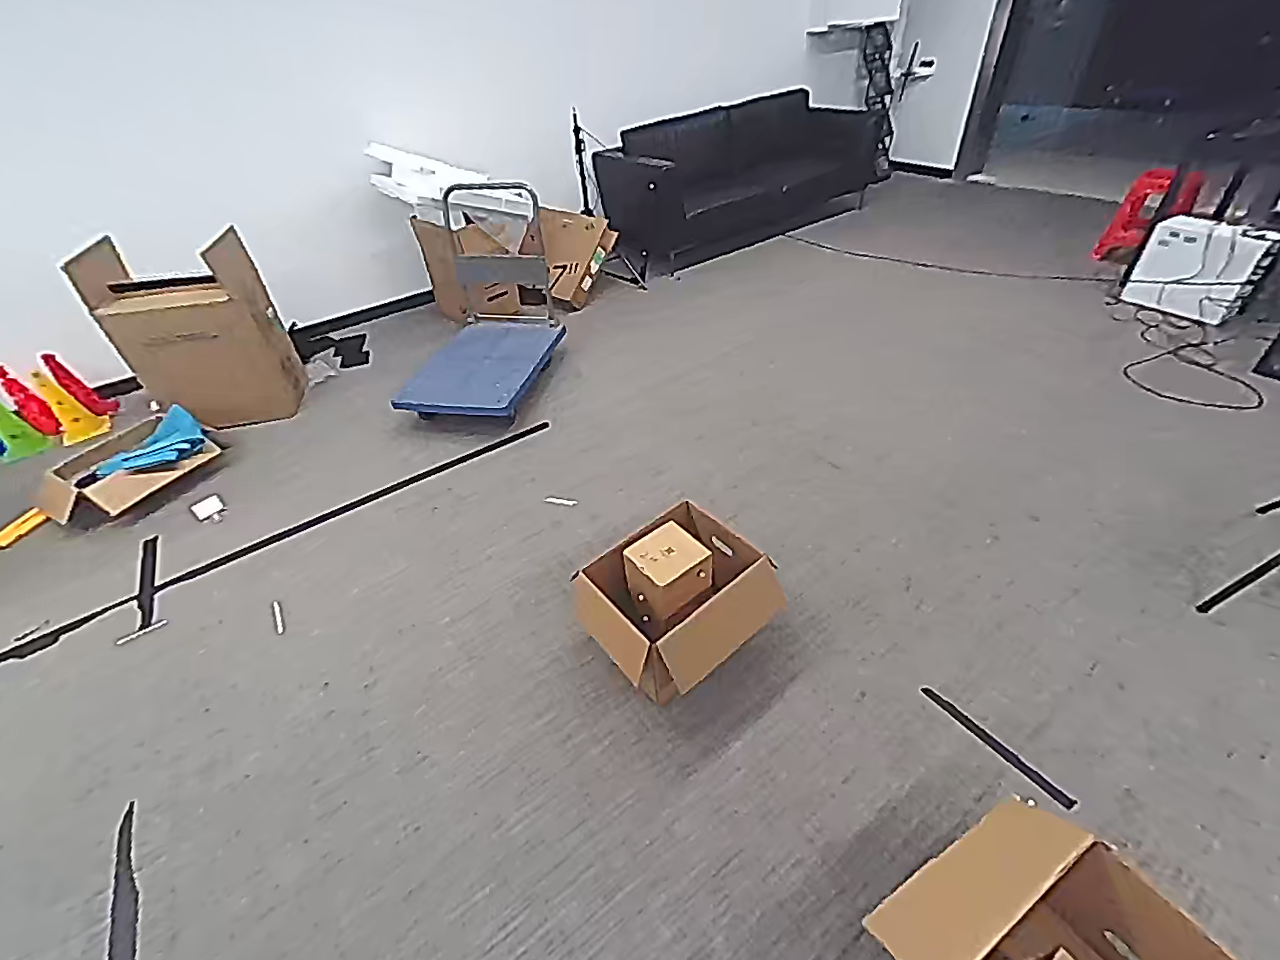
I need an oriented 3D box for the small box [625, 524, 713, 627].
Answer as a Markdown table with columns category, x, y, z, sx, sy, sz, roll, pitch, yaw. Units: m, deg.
| category | x | y | z | sx | sy | sz | roll | pitch | yaw |
| --- | --- | --- | --- | --- | --- | --- | --- | --- | --- |
| small box | 0.080 | 0.260 | 1.474 | 0.179 | 0.176 | 0.168 | -30 | 45 | -25 |
